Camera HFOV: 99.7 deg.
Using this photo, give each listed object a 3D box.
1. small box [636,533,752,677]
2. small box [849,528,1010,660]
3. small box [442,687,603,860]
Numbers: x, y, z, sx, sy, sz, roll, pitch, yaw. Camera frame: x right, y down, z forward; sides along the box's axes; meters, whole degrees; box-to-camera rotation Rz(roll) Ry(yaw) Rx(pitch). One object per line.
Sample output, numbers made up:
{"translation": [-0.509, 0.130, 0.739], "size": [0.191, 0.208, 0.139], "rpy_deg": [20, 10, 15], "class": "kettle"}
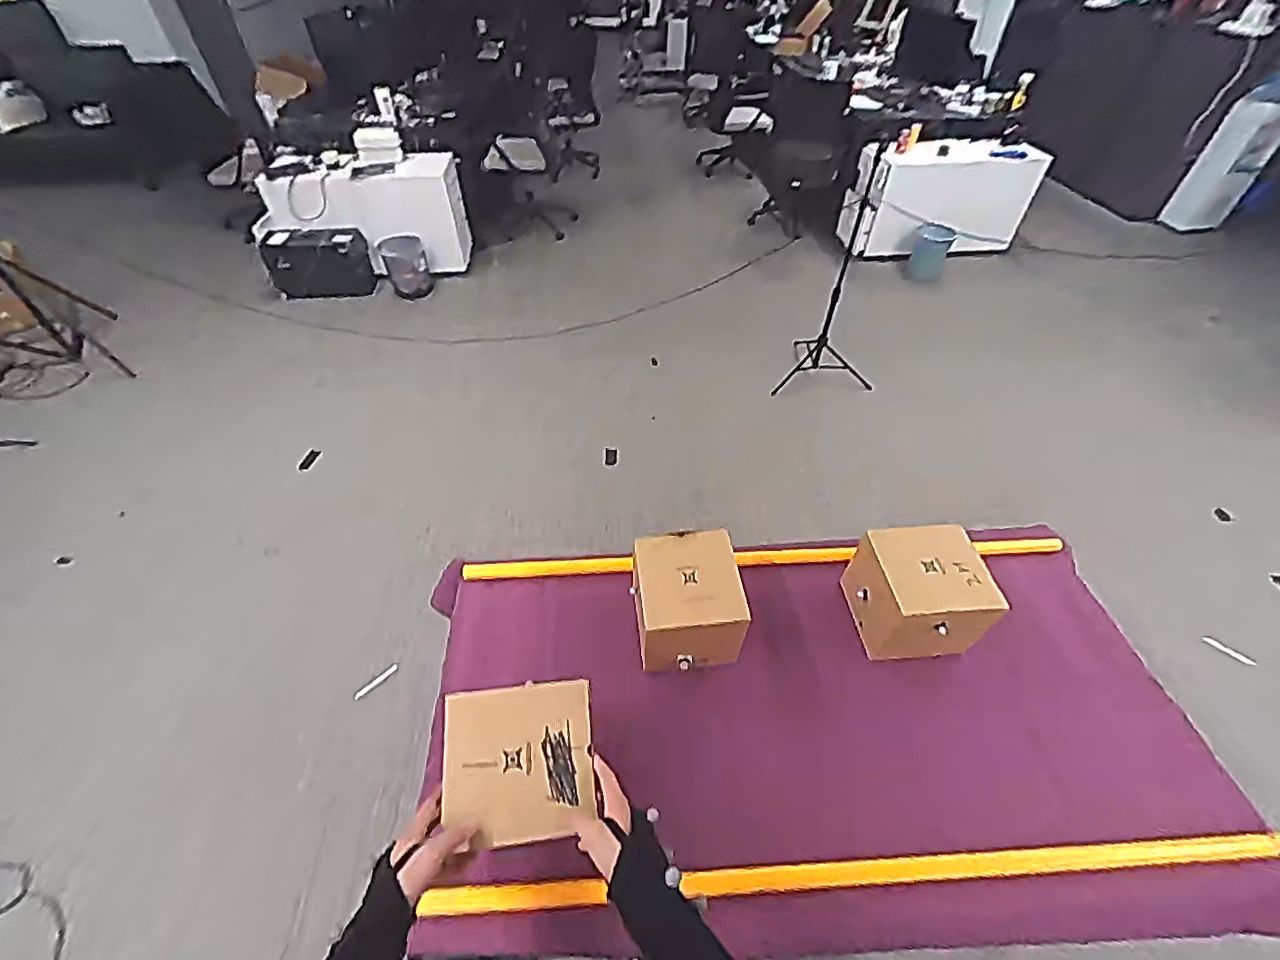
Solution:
{"translation": [0.082, 0.215, 0.932], "size": [0.168, 0.176, 0.179], "rpy_deg": [-5, 48, -4], "class": "small box"}
{"translation": [0.484, 0.203, 0.944], "size": [0.179, 0.176, 0.168], "rpy_deg": [-3, 48, -3], "class": "small box"}
{"translation": [-0.147, 0.375, 0.700], "size": [0.179, 0.176, 0.168], "rpy_deg": [-3, 59, -10], "class": "small box"}
